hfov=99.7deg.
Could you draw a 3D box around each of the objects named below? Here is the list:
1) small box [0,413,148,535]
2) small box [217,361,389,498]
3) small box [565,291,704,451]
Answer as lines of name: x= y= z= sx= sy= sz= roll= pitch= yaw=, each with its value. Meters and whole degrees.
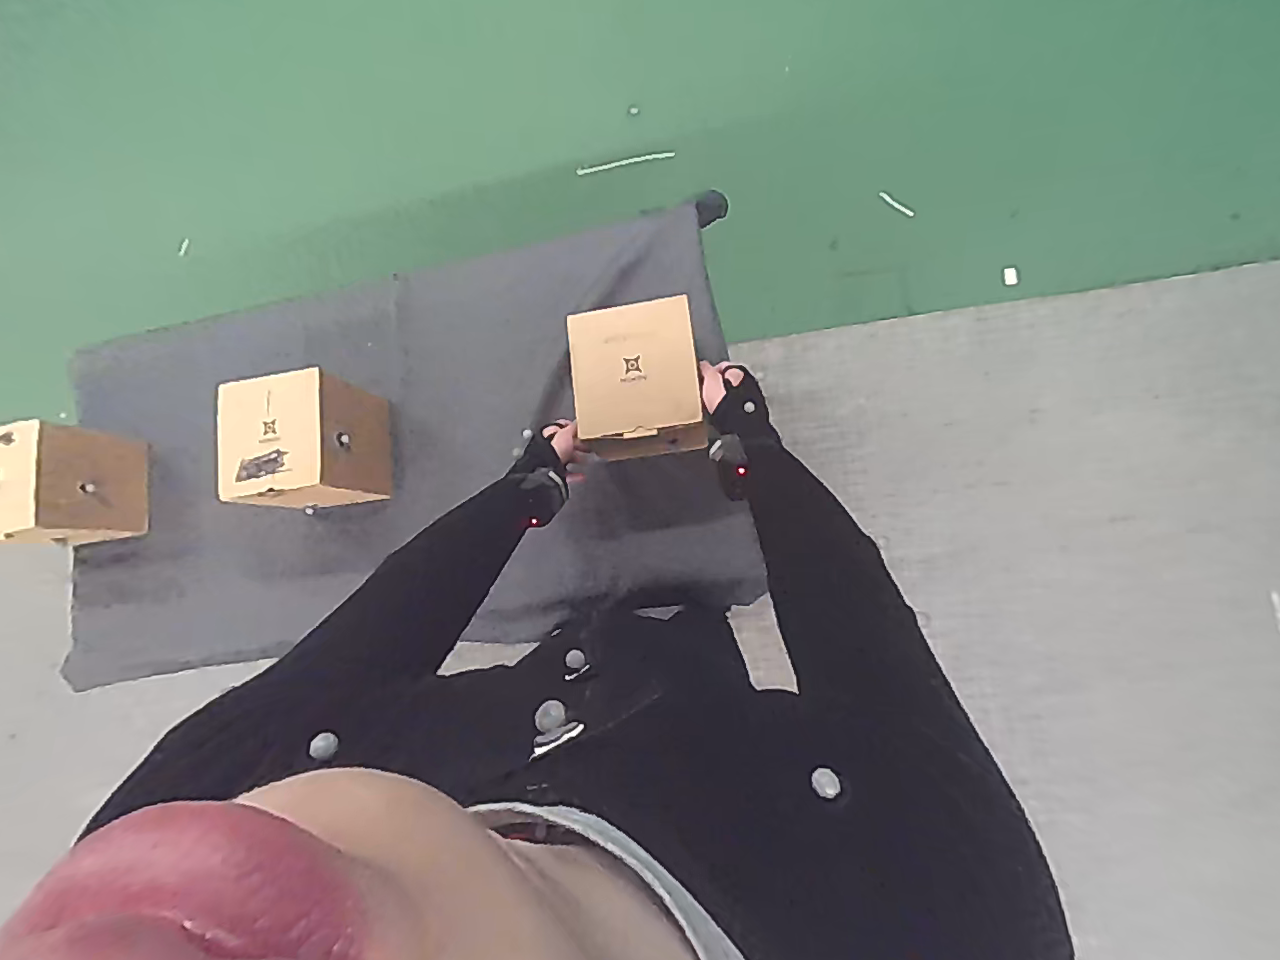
small box: x=-0.982 y=-0.002 z=0.911 sx=0.168 sy=0.176 sz=0.179 roll=-9 pitch=83 yaw=6
small box: x=-0.517 y=-0.067 z=0.848 sx=0.168 sy=0.176 sz=0.179 roll=-7 pitch=82 yaw=8
small box: x=0.000 y=-0.142 z=0.778 sx=0.168 sy=0.176 sz=0.179 roll=-8 pitch=82 yaw=7
